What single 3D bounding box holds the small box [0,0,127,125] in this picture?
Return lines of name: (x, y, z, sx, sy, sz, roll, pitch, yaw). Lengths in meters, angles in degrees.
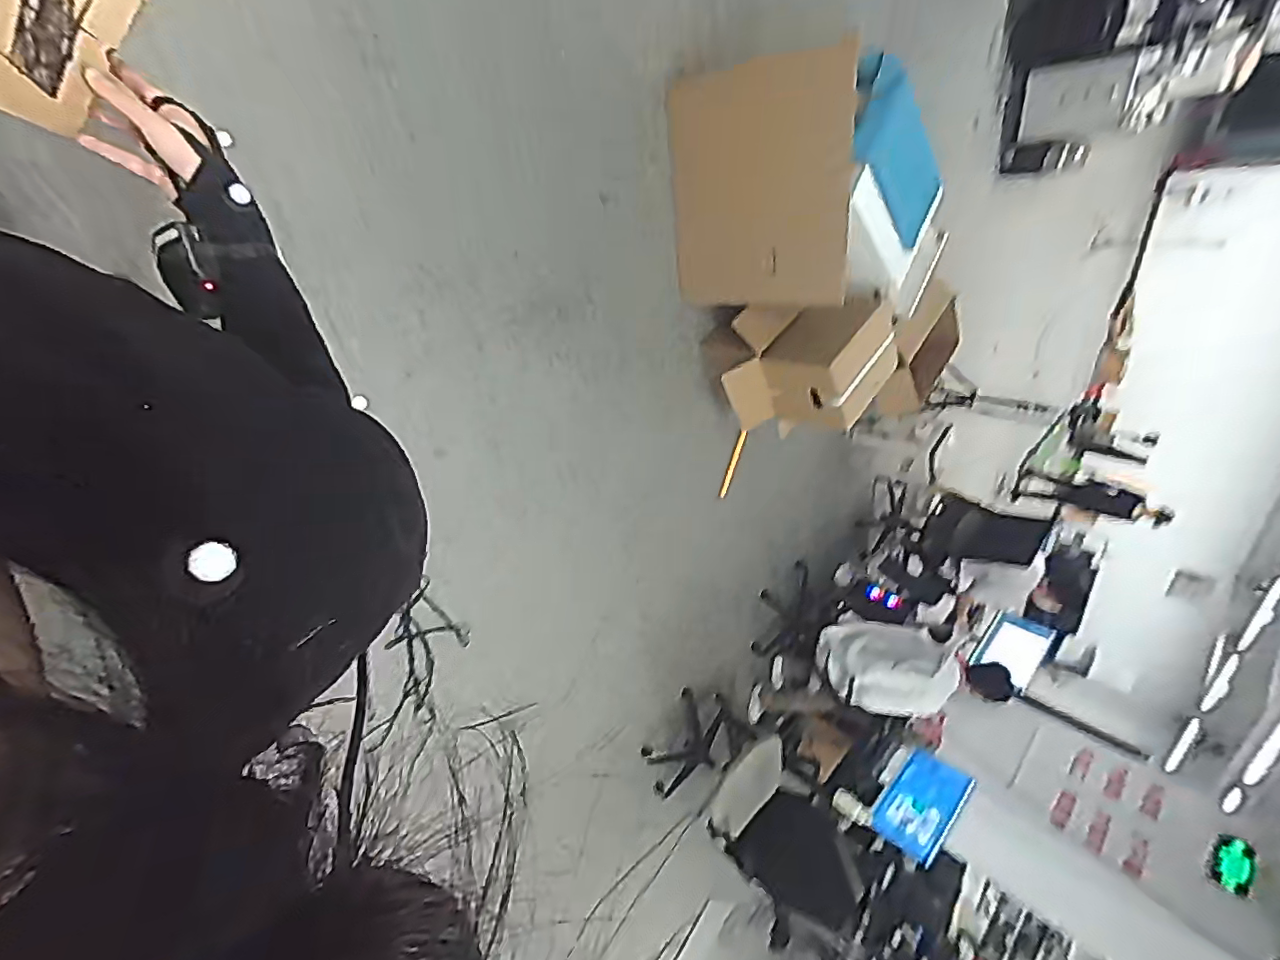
small box: (-0.505, -0.404, 0.364, 0.168, 0.176, 0.179, -46, 168, 13)
